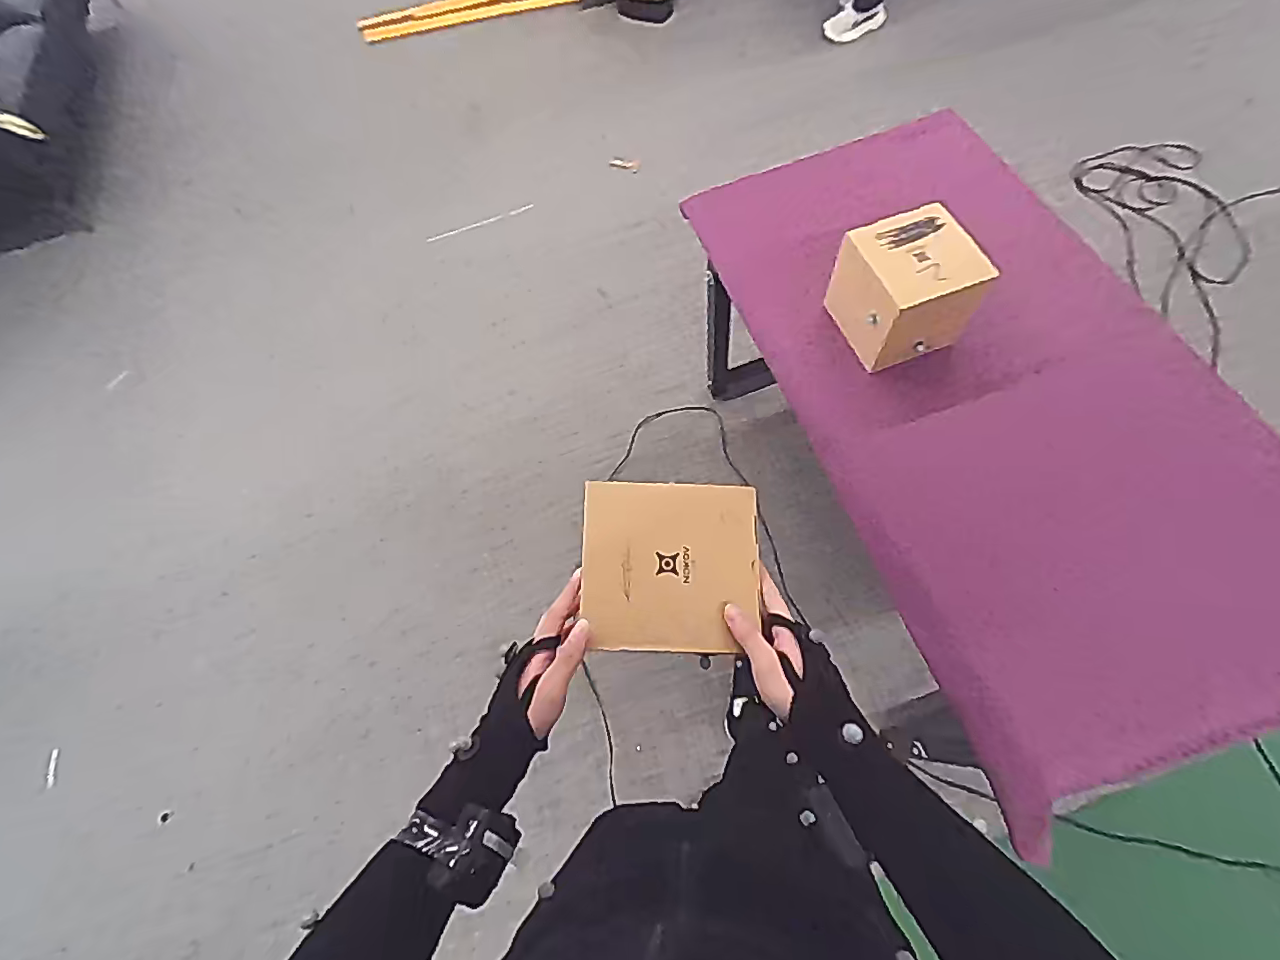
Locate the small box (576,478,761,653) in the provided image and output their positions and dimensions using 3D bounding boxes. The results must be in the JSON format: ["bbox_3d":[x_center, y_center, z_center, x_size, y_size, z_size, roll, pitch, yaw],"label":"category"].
[{"bbox_3d":[0.026,0.104,0.603,0.179,0.176,0.168,2,71,-1],"label":"small box"}]
